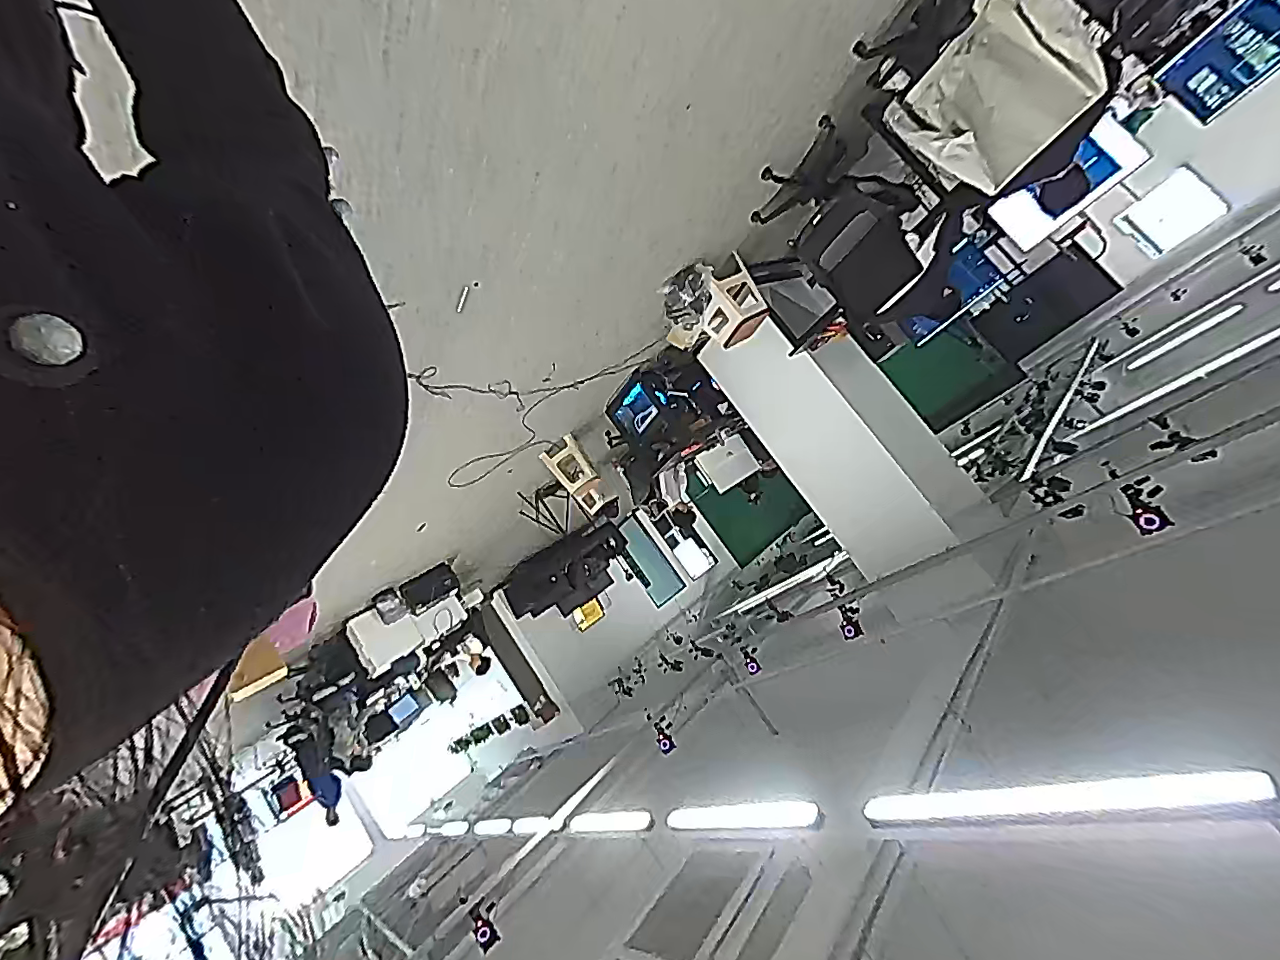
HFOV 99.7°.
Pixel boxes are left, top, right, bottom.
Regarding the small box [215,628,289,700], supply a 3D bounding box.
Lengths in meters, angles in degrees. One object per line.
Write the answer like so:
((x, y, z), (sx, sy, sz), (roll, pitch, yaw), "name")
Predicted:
((-1.423, 0.673, 1.982), (0.179, 0.176, 0.168), (-29, 170, -39), "small box")
